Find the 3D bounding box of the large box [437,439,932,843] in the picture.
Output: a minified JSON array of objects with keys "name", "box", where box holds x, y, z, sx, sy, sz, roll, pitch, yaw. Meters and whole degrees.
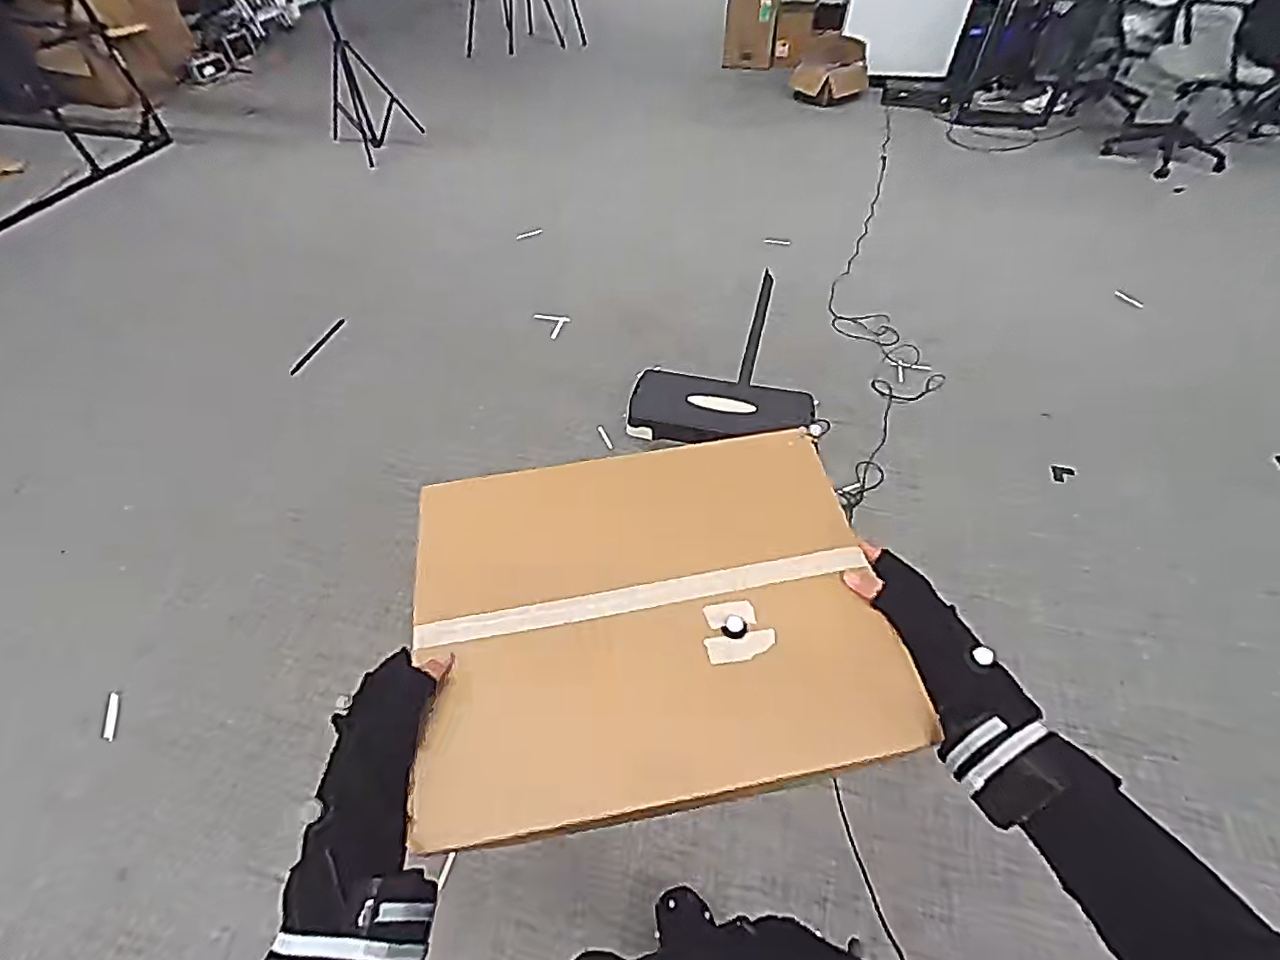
[{"name":"large box","box":[0.017,0.193,0.621,0.408,0.320,0.320,-9,57,-5]}]
